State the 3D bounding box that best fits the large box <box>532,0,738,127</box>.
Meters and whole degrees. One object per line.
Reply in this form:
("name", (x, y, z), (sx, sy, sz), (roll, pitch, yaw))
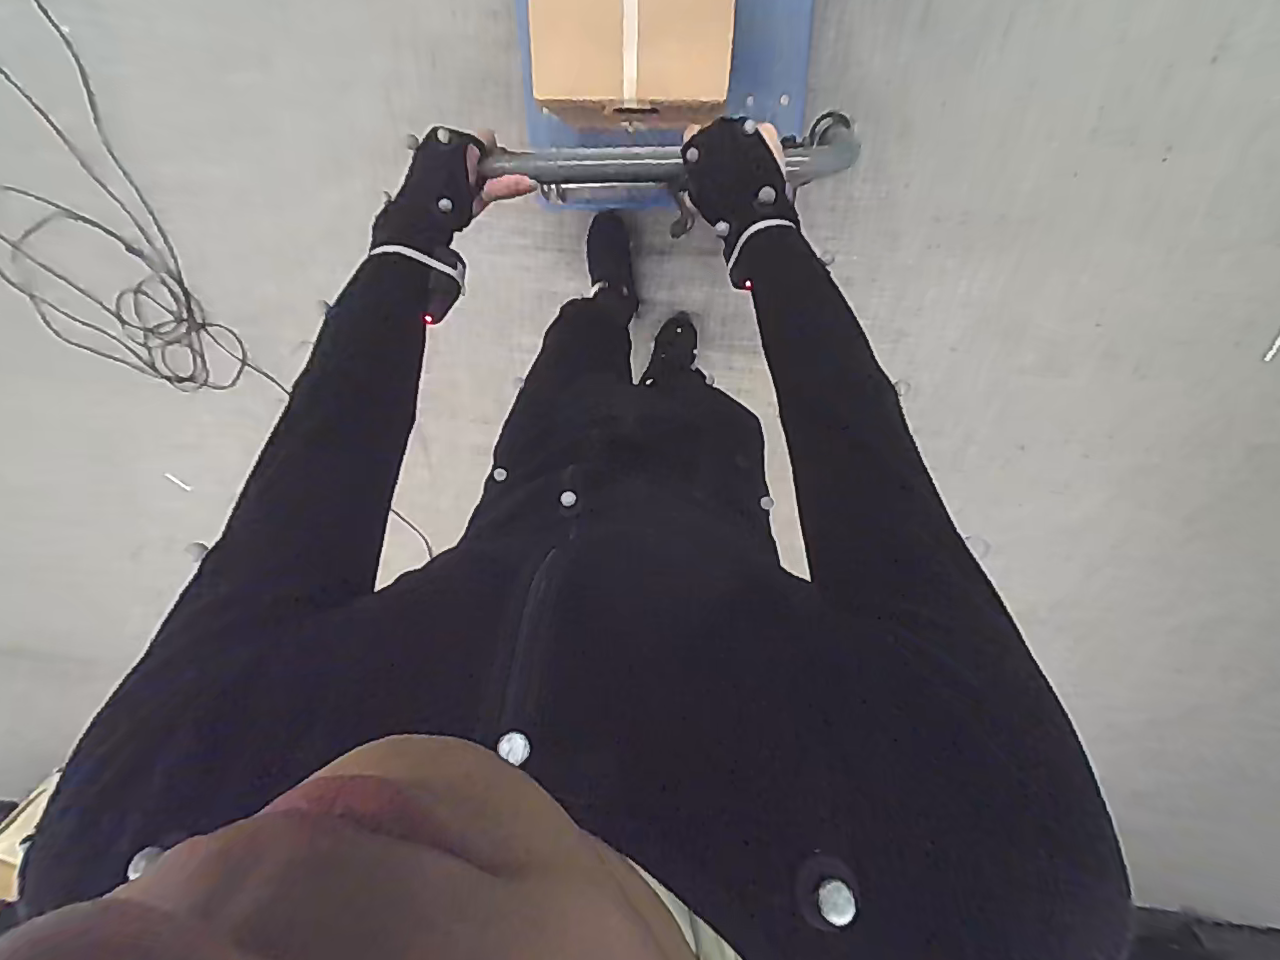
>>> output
("large box", (0.008, -0.853, 0.911), (0.320, 0.320, 0.408), (4, 116, 4))
